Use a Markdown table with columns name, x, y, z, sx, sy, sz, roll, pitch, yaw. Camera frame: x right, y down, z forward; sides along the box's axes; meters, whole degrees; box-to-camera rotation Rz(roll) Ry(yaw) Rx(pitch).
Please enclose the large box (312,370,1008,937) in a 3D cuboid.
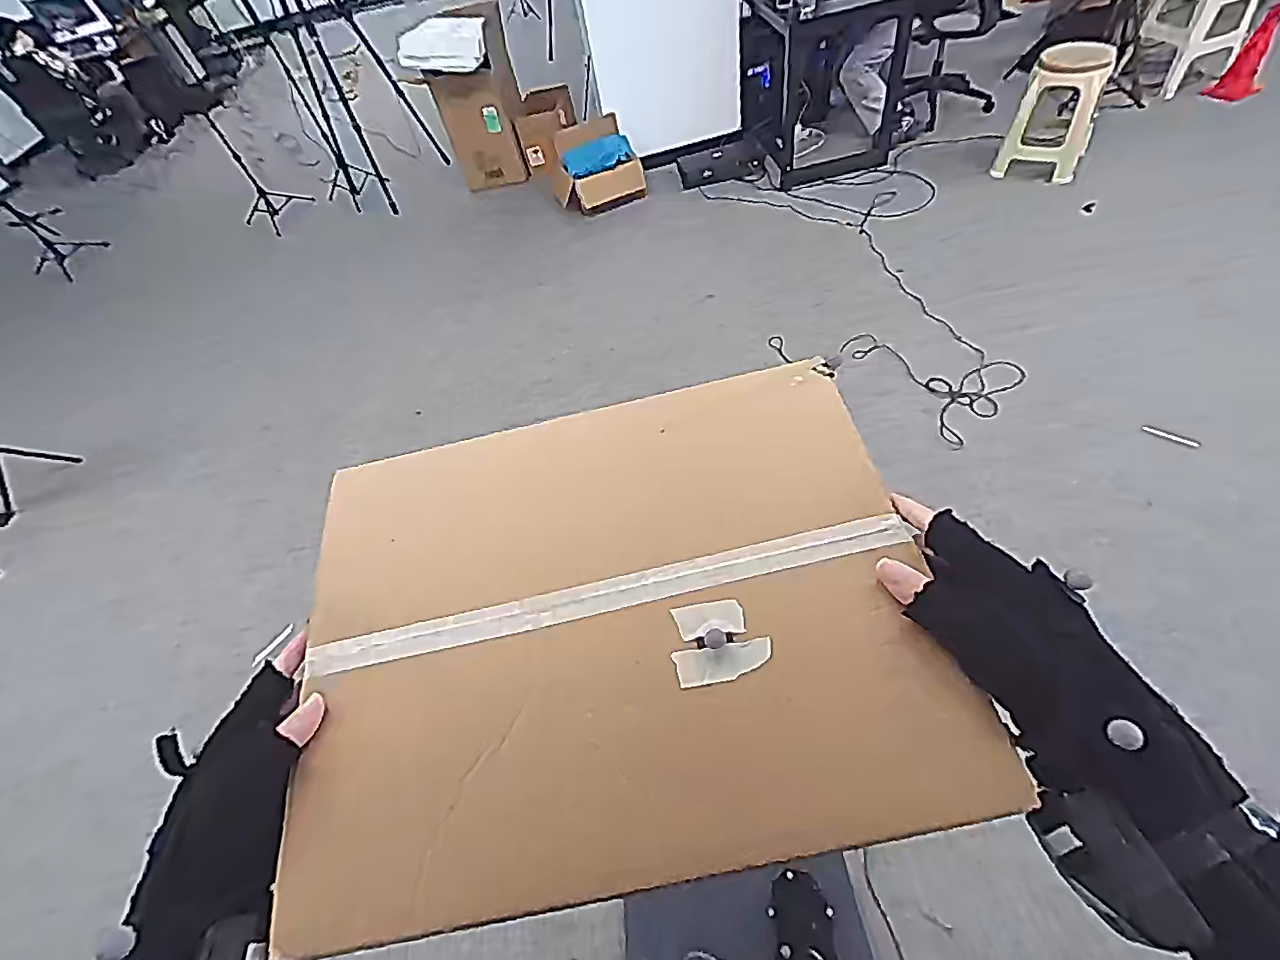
| name | x | y | z | sx | sy | sz | roll | pitch | yaw |
| --- | --- | --- | --- | --- | --- | --- | --- | --- | --- |
| large box | 0.001 | 0.156 | 0.499 | 0.408 | 0.320 | 0.320 | -13 | 59 | 1 |
